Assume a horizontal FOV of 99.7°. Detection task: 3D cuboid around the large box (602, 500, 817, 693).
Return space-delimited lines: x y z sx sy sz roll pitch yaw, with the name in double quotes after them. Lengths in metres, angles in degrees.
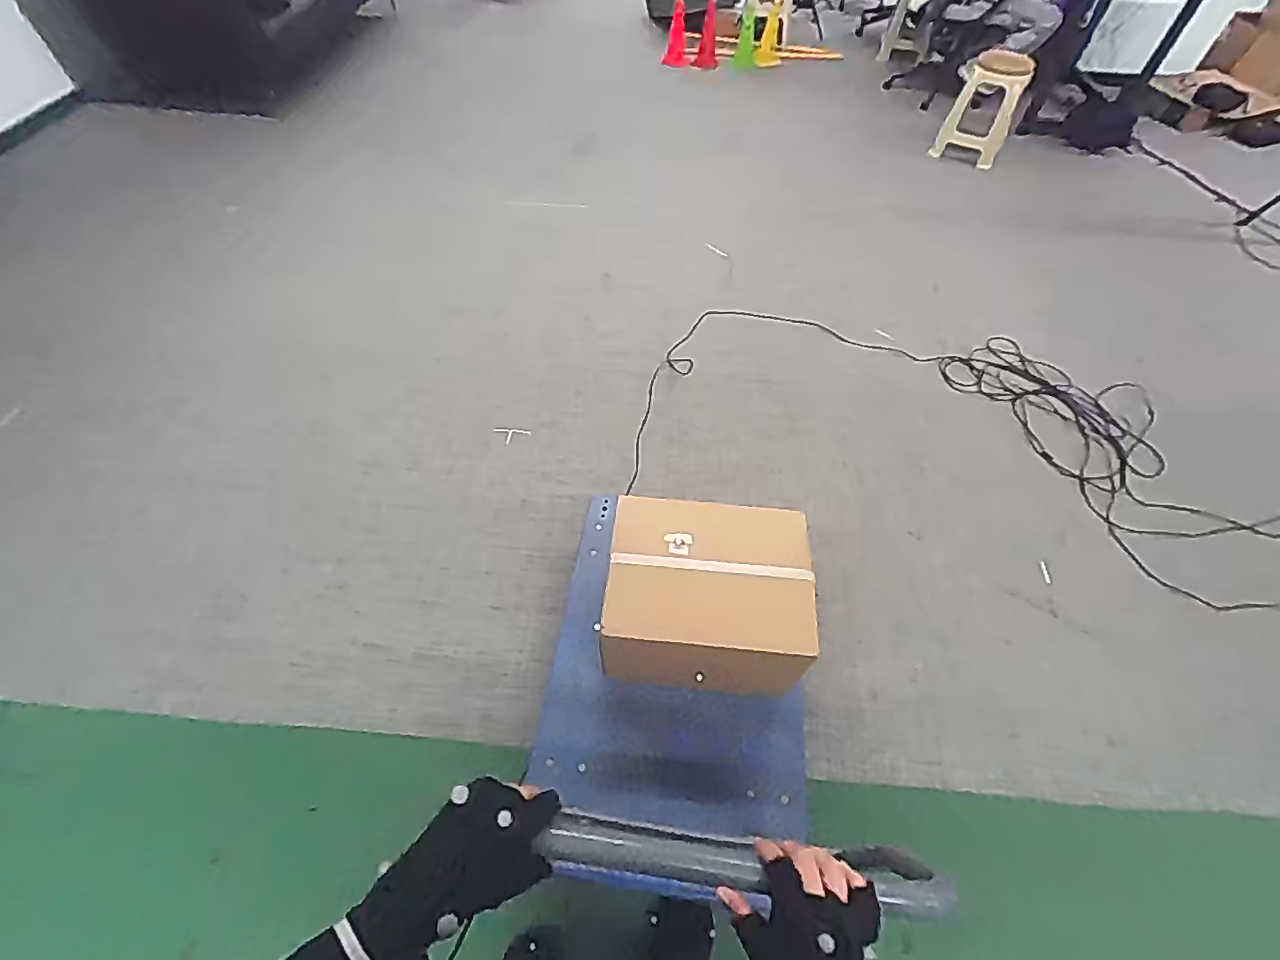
0.139 0.267 1.201 0.408 0.320 0.320 5 54 3 "large box"
